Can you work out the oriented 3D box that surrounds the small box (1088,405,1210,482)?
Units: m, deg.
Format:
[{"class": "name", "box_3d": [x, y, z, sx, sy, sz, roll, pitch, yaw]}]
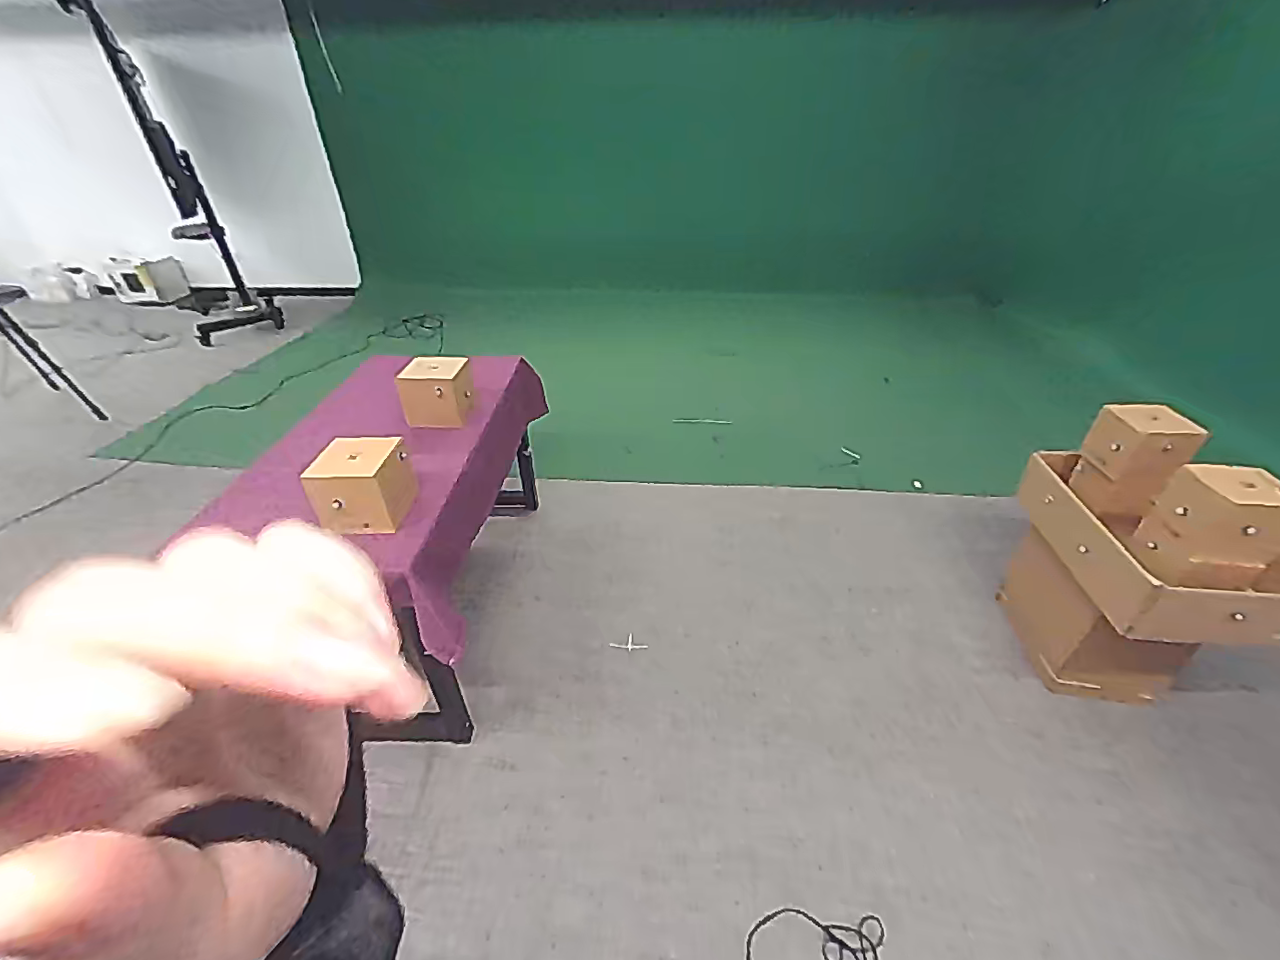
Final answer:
[{"class": "small box", "box_3d": [1.449, -0.105, 1.560, 0.179, 0.176, 0.168, 1, 35, 3]}]

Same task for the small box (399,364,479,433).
[{"class": "small box", "box_3d": [-0.626, -0.257, 1.713, 0.179, 0.176, 0.168, 0, 34, 4]}]

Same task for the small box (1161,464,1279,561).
[{"class": "small box", "box_3d": [1.411, 0.078, 1.293, 0.179, 0.176, 0.168, 3, 35, 8]}]

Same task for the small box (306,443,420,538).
[{"class": "small box", "box_3d": [-0.651, 0.027, 1.298, 0.168, 0.176, 0.179, -2, 33, 1]}]
